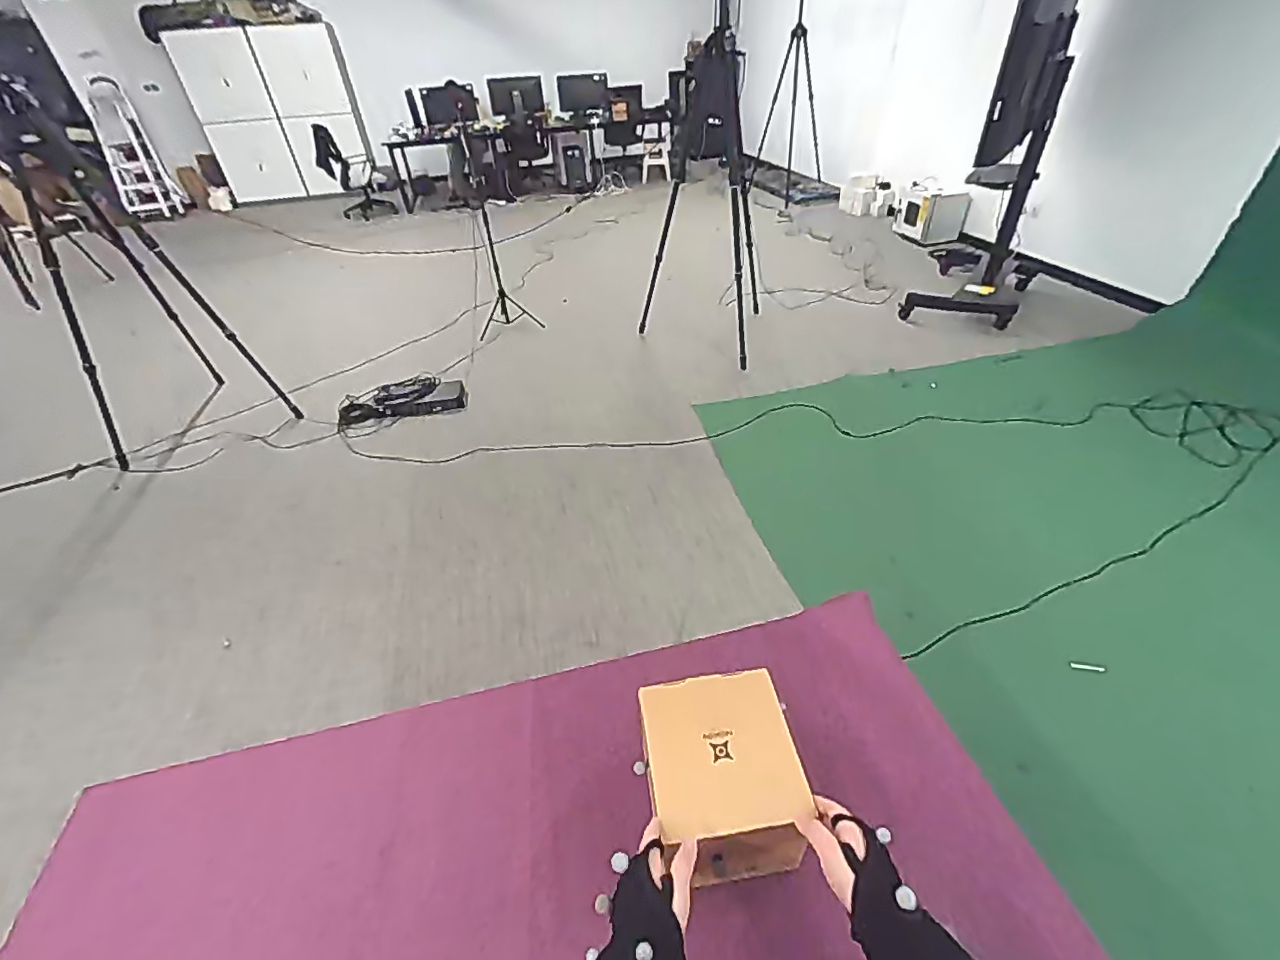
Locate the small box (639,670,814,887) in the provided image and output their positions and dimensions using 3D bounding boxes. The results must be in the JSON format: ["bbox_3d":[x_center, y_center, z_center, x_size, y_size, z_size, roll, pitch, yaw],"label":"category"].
[{"bbox_3d":[0.096,0.365,0.658,0.168,0.176,0.179,-8,38,-3],"label":"small box"}]
